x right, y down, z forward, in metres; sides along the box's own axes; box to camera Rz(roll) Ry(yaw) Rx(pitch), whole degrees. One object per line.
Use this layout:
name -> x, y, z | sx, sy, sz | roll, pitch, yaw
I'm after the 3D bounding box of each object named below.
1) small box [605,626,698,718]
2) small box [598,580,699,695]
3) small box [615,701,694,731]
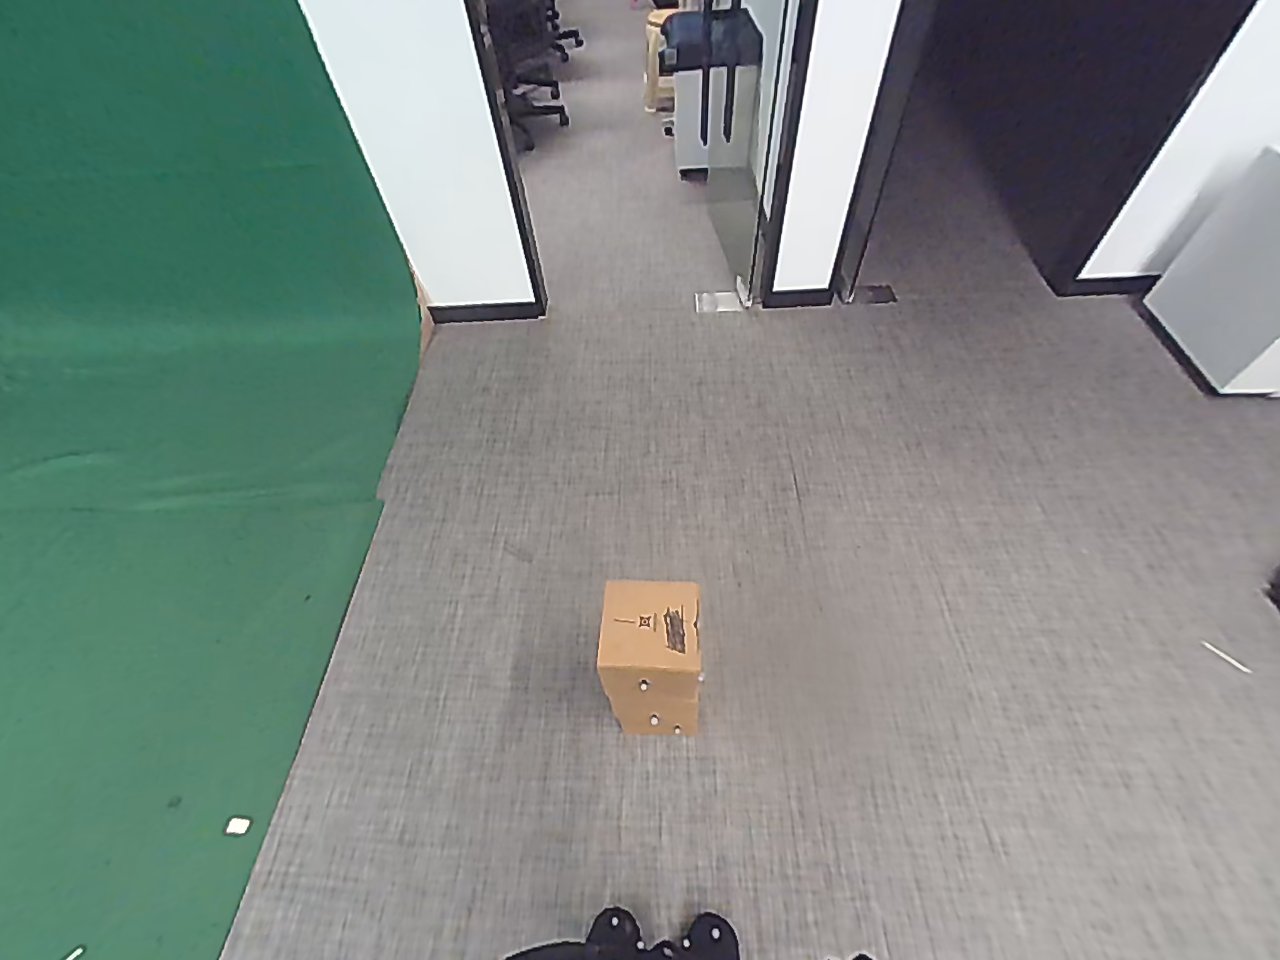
small box -> 0.029, 0.403, 1.164 | 0.179, 0.176, 0.168 | 3, 53, 6
small box -> 0.017, 0.303, 1.034 | 0.179, 0.176, 0.168 | 0, 53, 2
small box -> 0.038, 0.496, 1.299 | 0.179, 0.176, 0.168 | -1, 53, 5
